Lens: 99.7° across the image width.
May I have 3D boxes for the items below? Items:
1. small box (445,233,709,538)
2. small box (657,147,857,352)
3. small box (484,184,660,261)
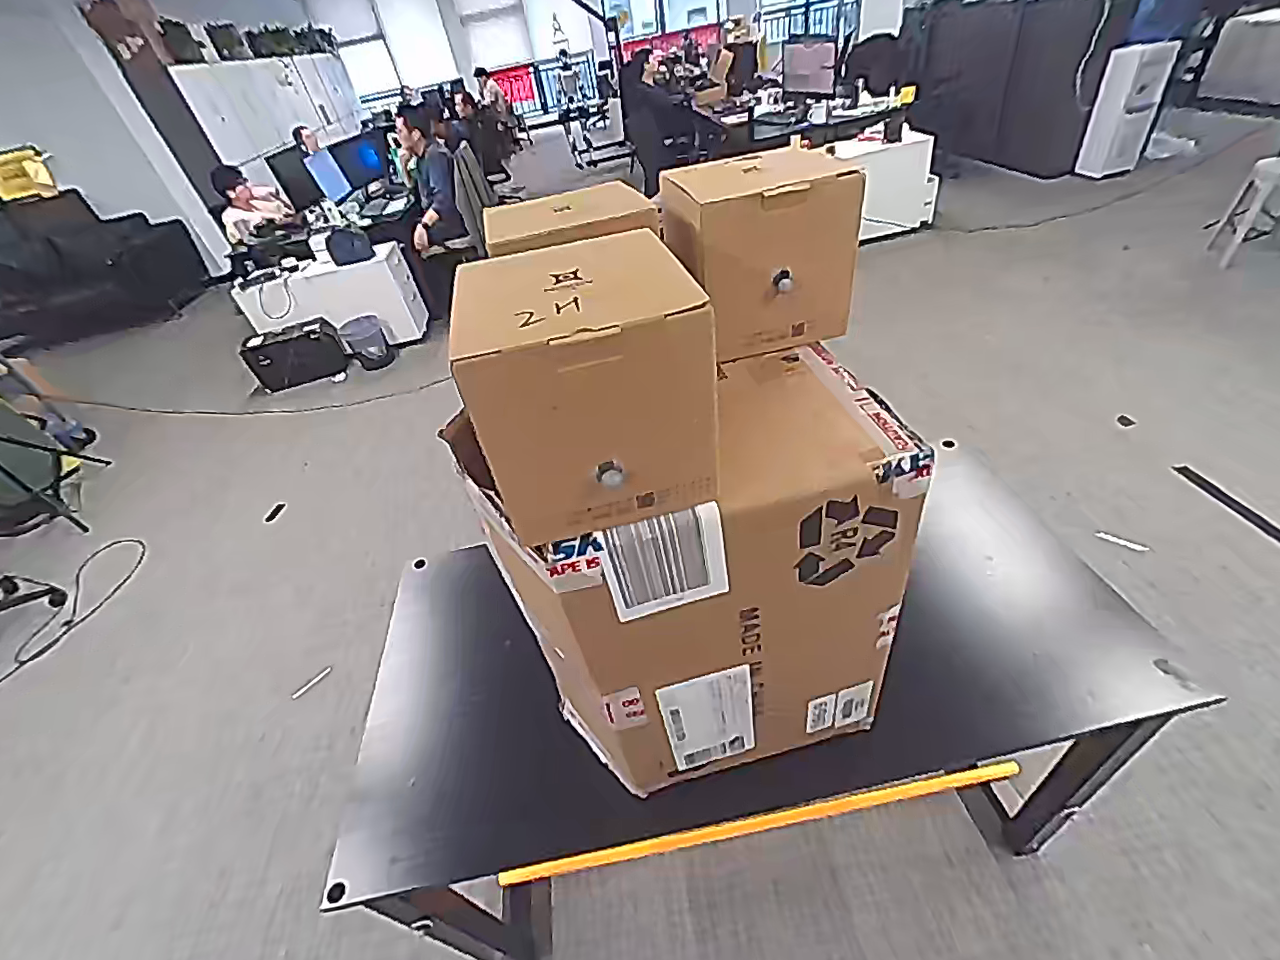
[{"bbox_3d":[-0.046,-0.081,0.448,0.168,0.176,0.179,-14,41,-5],"label":"small box"},{"bbox_3d":[0.123,-0.259,0.620,0.168,0.176,0.179,-12,40,-4],"label":"small box"},{"bbox_3d":[-0.072,-0.220,0.622,0.168,0.176,0.179,-17,39,-6],"label":"small box"}]
